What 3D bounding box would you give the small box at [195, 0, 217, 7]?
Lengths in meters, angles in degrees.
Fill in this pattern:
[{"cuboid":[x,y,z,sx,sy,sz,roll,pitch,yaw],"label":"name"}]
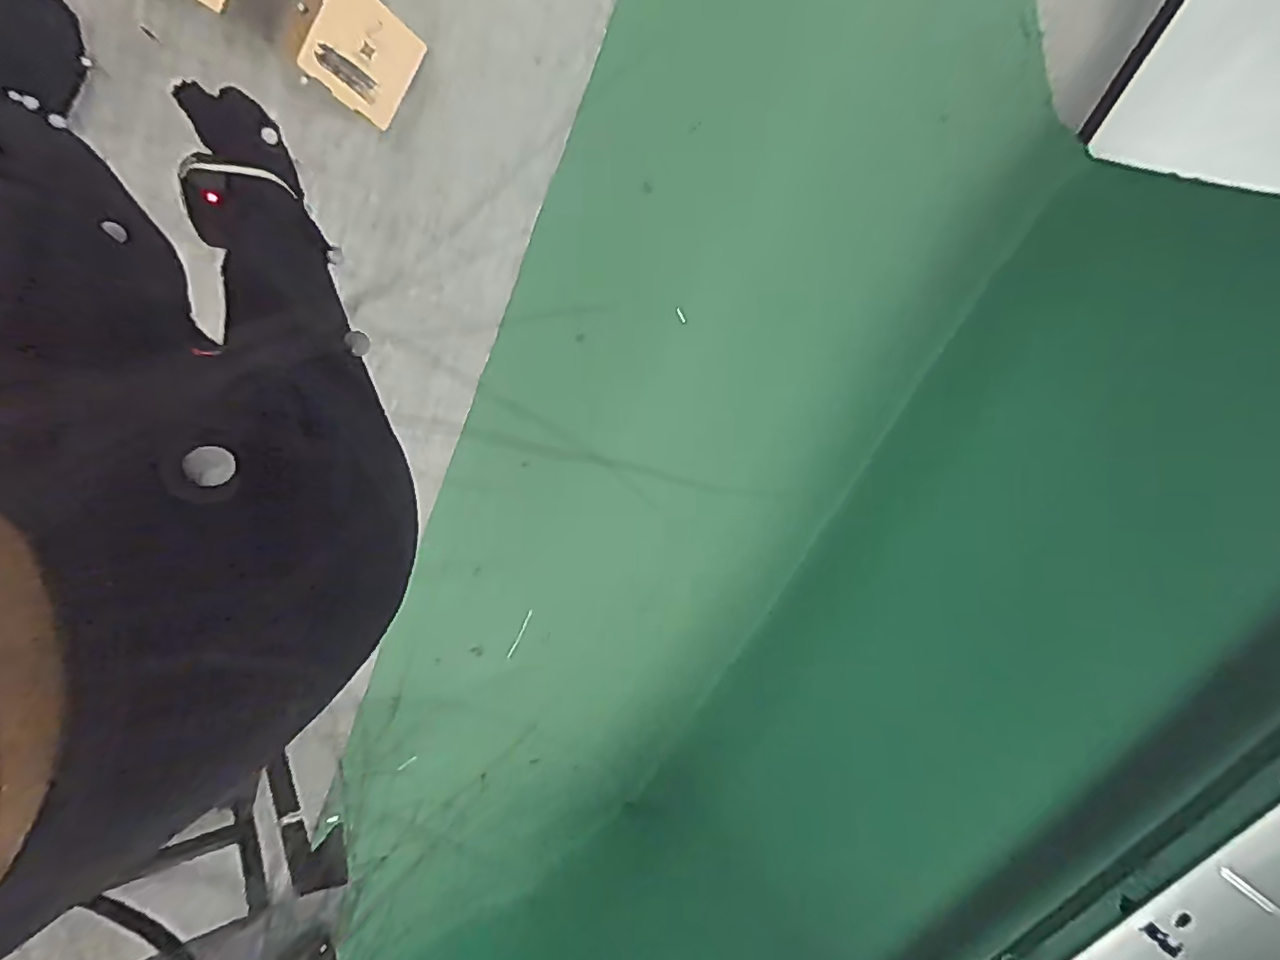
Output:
[{"cuboid":[-0.703,-0.852,0.792,0.168,0.176,0.179,16,112,-51],"label":"small box"}]
